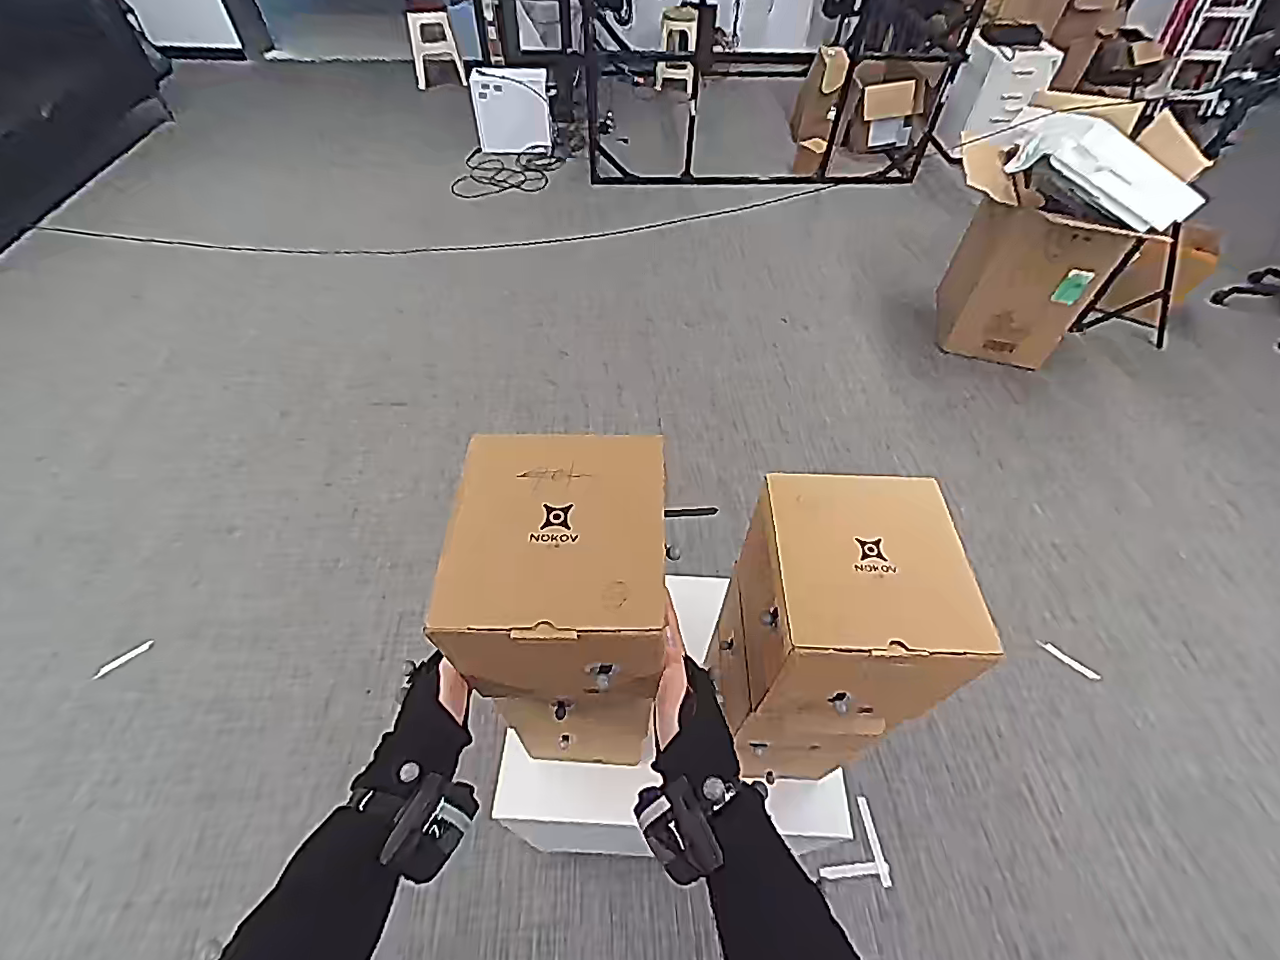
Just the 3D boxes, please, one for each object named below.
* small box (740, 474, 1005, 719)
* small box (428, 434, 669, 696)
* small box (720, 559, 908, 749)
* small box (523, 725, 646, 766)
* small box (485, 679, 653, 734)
[{"bbox_3d":[0.197,0.116,0.525,0.168,0.176,0.179,2,52,0],"label":"small box"},{"bbox_3d":[-0.059,0.080,0.472,0.168,0.176,0.179,1,54,1],"label":"small box"},{"bbox_3d":[0.193,0.215,0.654,0.168,0.176,0.179,2,51,0],"label":"small box"},{"bbox_3d":[-0.072,0.298,0.790,0.168,0.176,0.179,4,51,1],"label":"small box"},{"bbox_3d":[-0.069,0.199,0.657,0.179,0.176,0.168,4,52,1],"label":"small box"}]
